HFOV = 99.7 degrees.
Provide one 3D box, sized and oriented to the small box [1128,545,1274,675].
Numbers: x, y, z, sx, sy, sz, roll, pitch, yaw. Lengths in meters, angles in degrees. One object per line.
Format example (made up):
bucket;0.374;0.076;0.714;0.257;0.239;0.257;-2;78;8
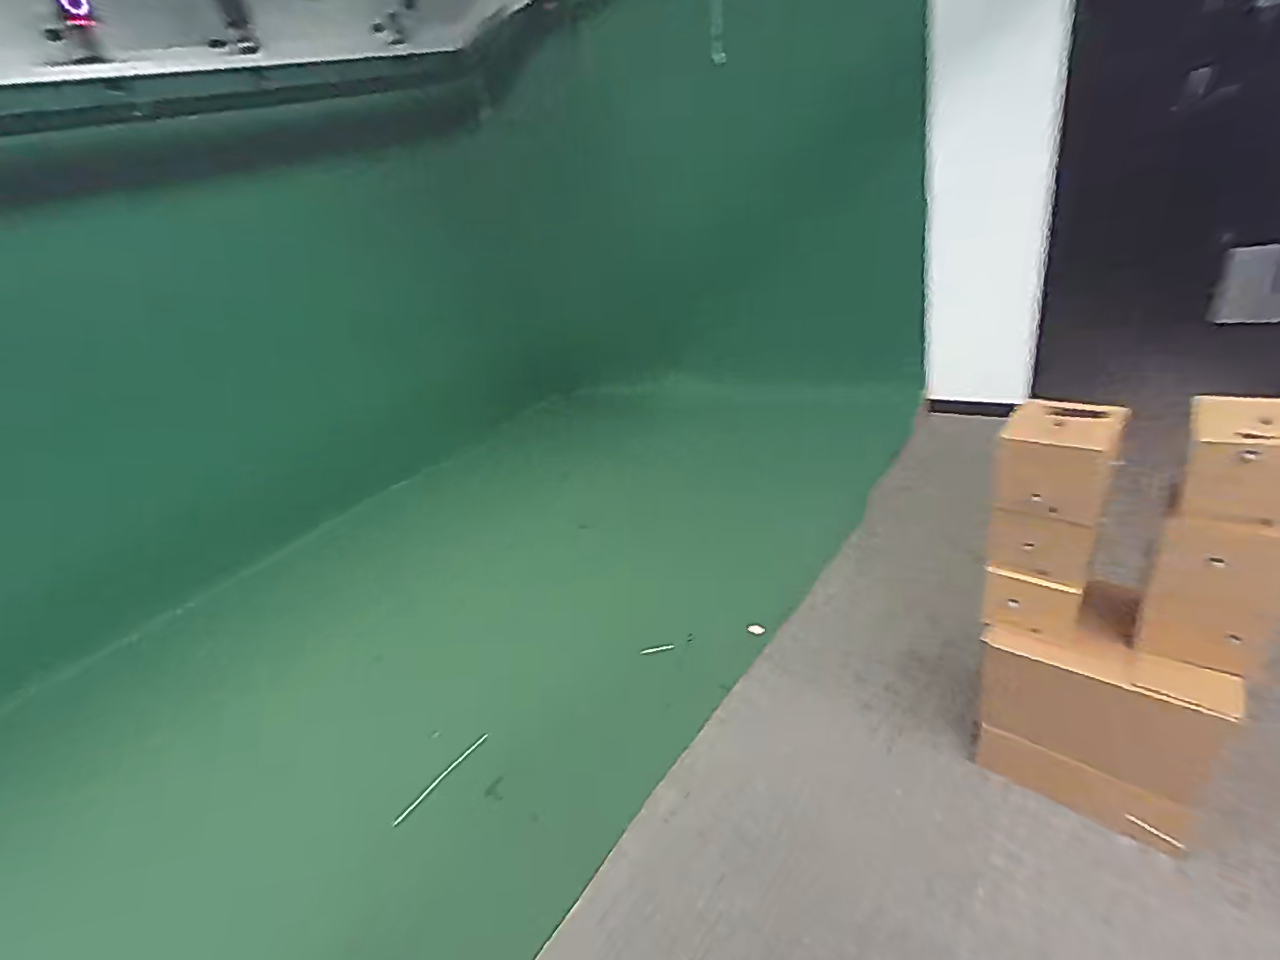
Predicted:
small box;1.122;0.261;1.090;0.179;0.176;0.168;11;38;41

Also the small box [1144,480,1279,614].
small box;1.083;0.123;1.010;0.179;0.176;0.168;12;38;43

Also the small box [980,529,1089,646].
small box;0.892;0.243;1.231;0.168;0.176;0.179;15;41;42

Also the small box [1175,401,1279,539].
small box;1.057;-0.021;0.935;0.168;0.176;0.179;10;37;40
